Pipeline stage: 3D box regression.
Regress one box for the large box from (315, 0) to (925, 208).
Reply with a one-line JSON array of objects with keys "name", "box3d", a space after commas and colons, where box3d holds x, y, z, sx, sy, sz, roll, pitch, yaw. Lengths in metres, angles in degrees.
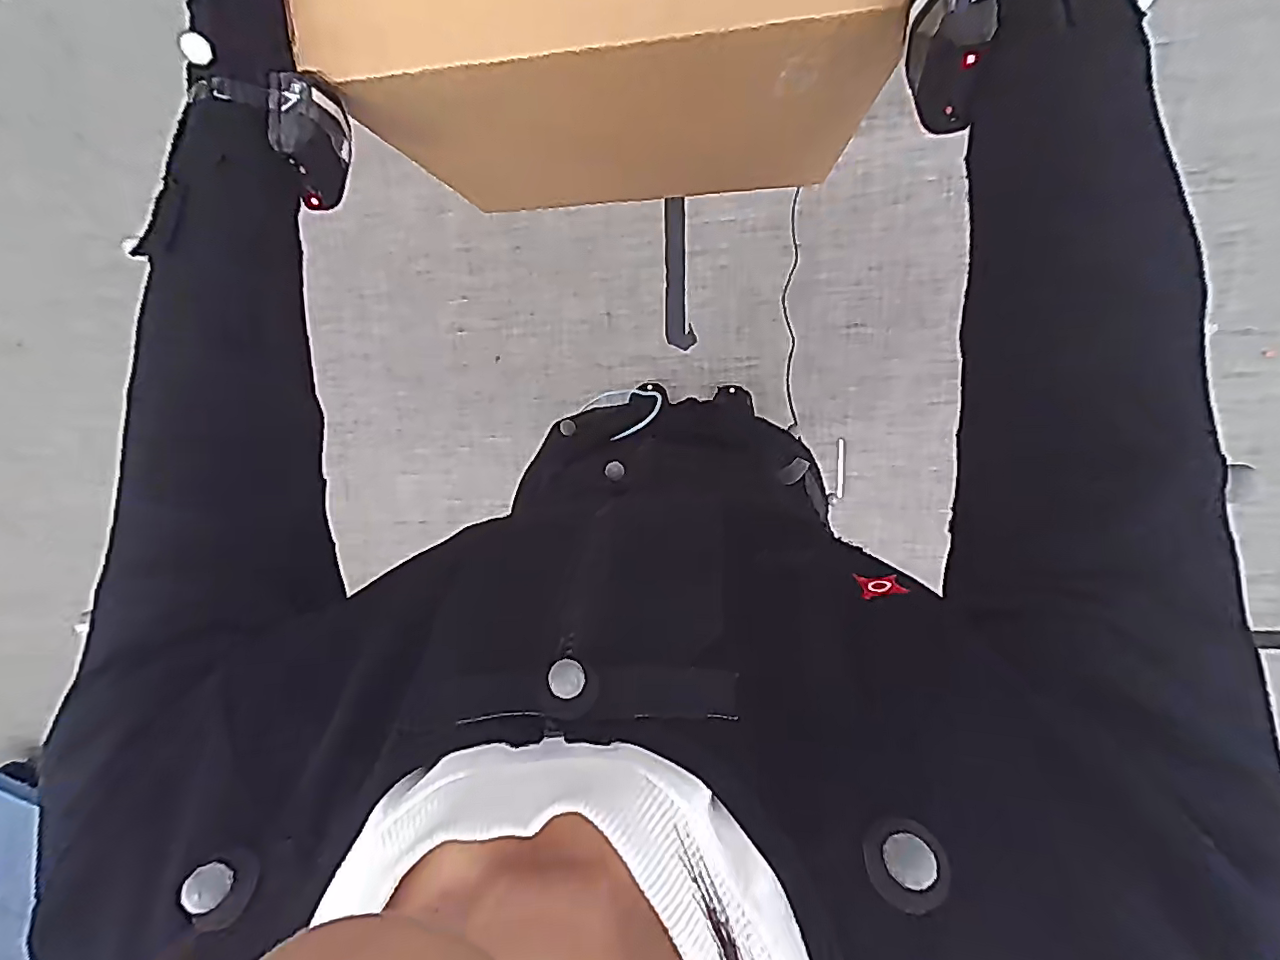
[{"name": "large box", "box3d": [-0.014, -0.459, 0.464, 0.408, 0.320, 0.320, -2, 102, 6]}]
